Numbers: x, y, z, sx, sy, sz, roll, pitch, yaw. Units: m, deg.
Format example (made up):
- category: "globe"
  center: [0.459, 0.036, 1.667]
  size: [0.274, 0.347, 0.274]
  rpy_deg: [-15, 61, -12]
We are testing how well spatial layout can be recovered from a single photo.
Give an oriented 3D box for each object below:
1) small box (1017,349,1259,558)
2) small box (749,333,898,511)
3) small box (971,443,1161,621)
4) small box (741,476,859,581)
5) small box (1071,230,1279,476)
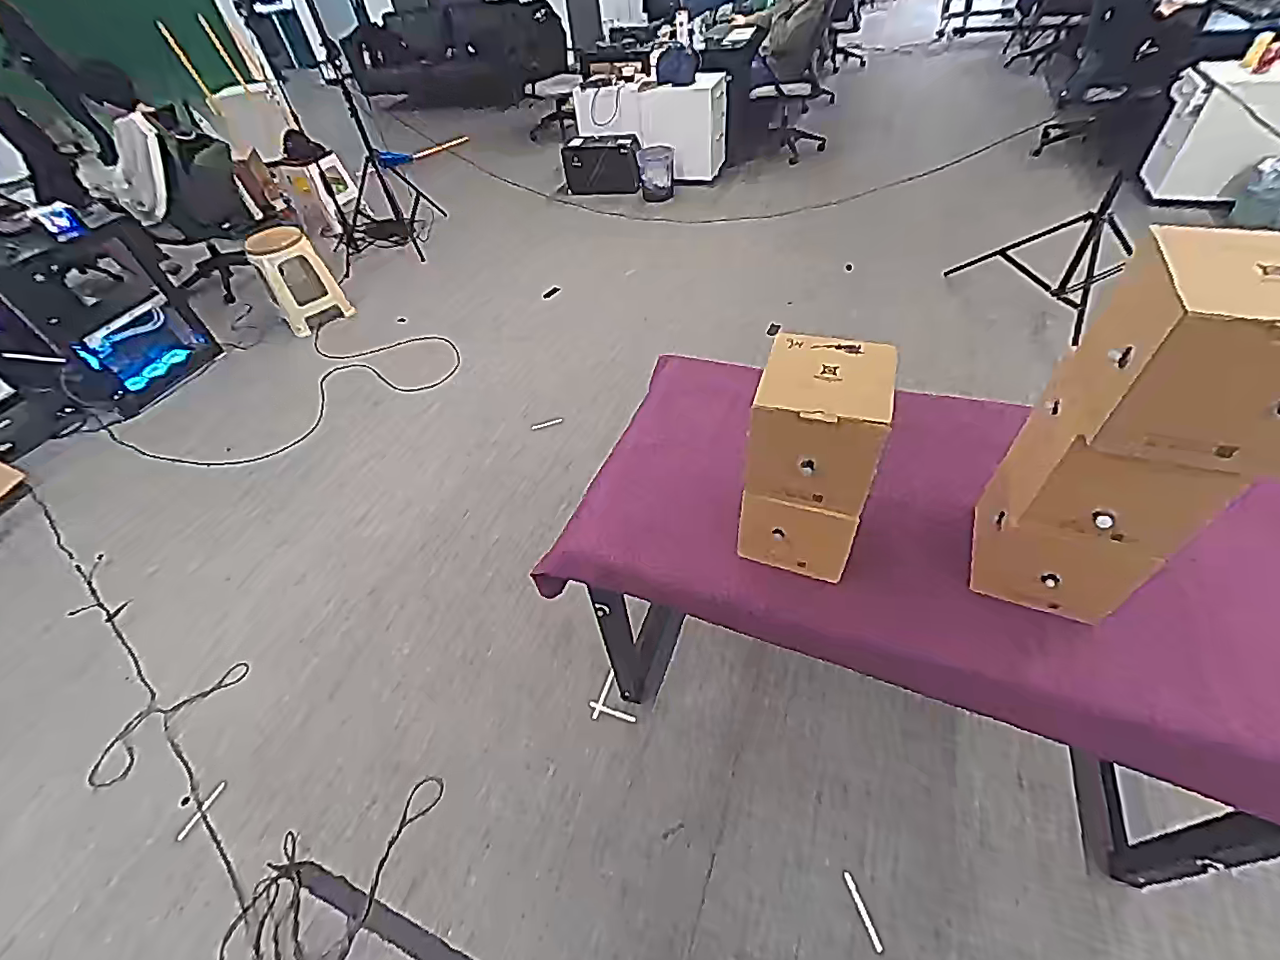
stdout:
- category: "small box"
  center: [0.599, -0.035, 0.679]
  size: [0.168, 0.176, 0.179]
  rpy_deg: [15, 51, 20]
- category: "small box"
  center: [0.253, -0.081, 0.766]
  size: [0.168, 0.176, 0.179]
  rpy_deg: [12, 50, 17]
- category: "small box"
  center: [0.610, 0.078, 0.798]
  size: [0.168, 0.176, 0.179]
  rpy_deg: [16, 51, 20]
- category: "small box"
  center: [0.266, 0.036, 0.880]
  size: [0.168, 0.176, 0.179]
  rpy_deg: [14, 50, 19]
- category: "small box"
  center: [0.578, -0.129, 0.547]
  size: [0.168, 0.176, 0.179]
  rpy_deg: [13, 50, 17]
